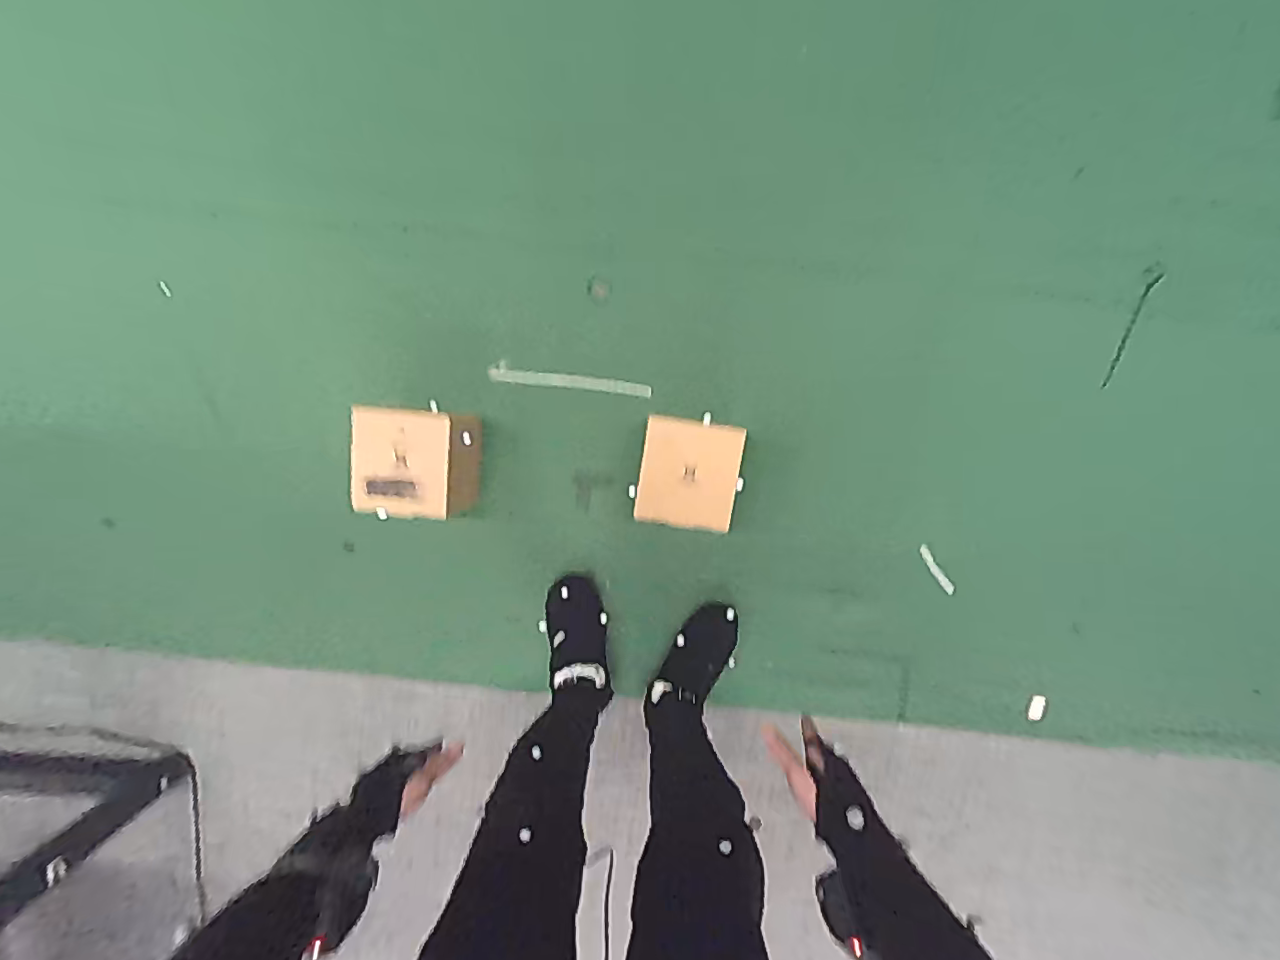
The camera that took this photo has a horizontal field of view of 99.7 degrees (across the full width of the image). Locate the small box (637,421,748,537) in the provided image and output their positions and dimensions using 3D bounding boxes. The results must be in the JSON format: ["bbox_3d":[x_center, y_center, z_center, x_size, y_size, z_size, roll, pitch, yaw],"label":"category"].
[{"bbox_3d":[0.087,-0.010,0.983,0.168,0.176,0.179,8,99,0],"label":"small box"}]
